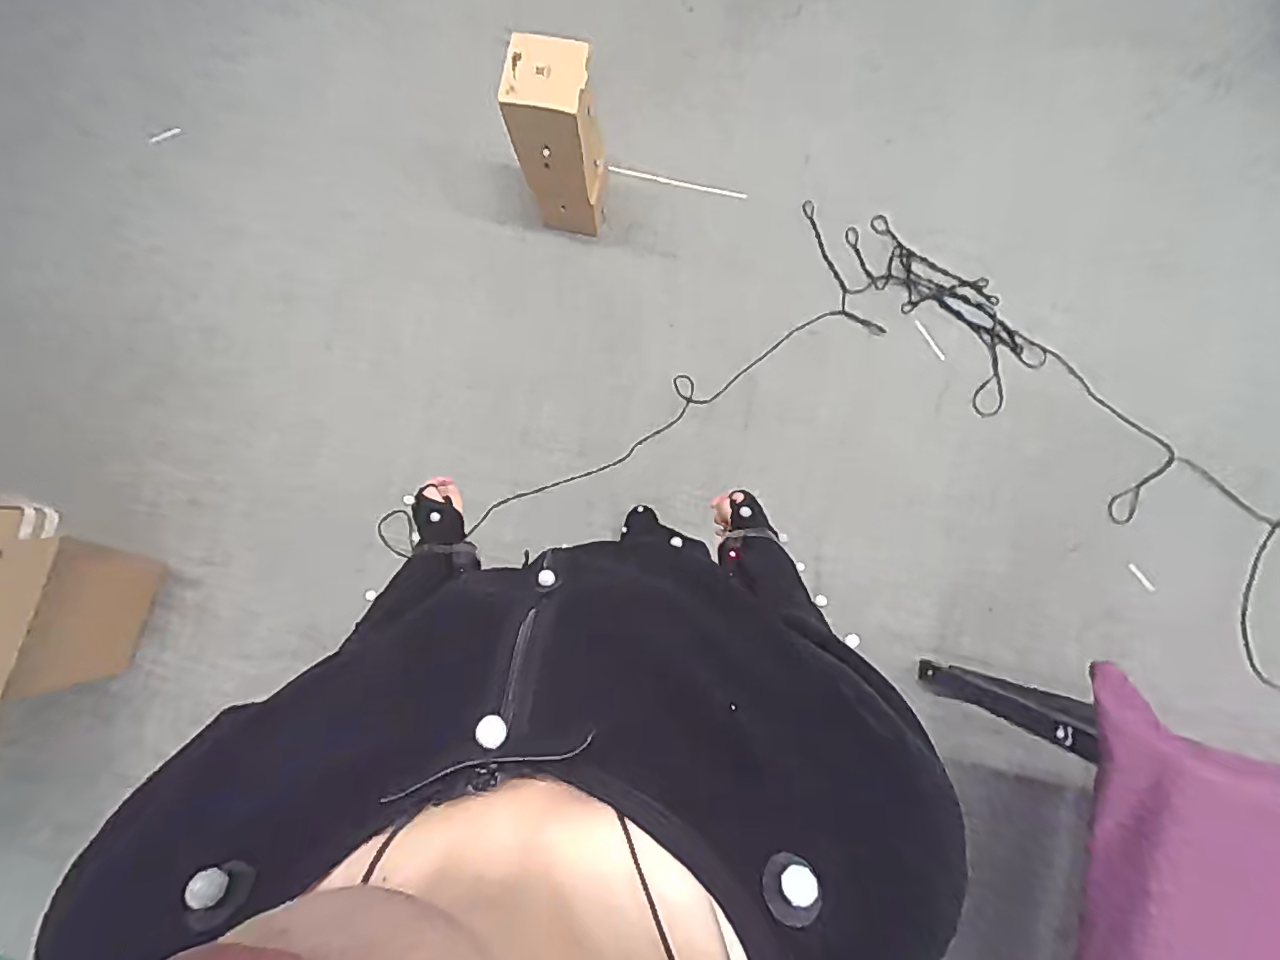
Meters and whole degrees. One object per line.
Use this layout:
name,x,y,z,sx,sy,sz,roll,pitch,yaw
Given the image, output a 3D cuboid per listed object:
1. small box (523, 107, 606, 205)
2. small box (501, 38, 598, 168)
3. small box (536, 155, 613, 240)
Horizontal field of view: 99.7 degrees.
small box,-0.195,-0.845,1.399,0.179,0.176,0.168,13,84,2
small box,-0.196,-0.849,1.235,0.179,0.176,0.168,11,83,1
small box,-0.184,-0.822,1.562,0.179,0.176,0.168,13,84,2
